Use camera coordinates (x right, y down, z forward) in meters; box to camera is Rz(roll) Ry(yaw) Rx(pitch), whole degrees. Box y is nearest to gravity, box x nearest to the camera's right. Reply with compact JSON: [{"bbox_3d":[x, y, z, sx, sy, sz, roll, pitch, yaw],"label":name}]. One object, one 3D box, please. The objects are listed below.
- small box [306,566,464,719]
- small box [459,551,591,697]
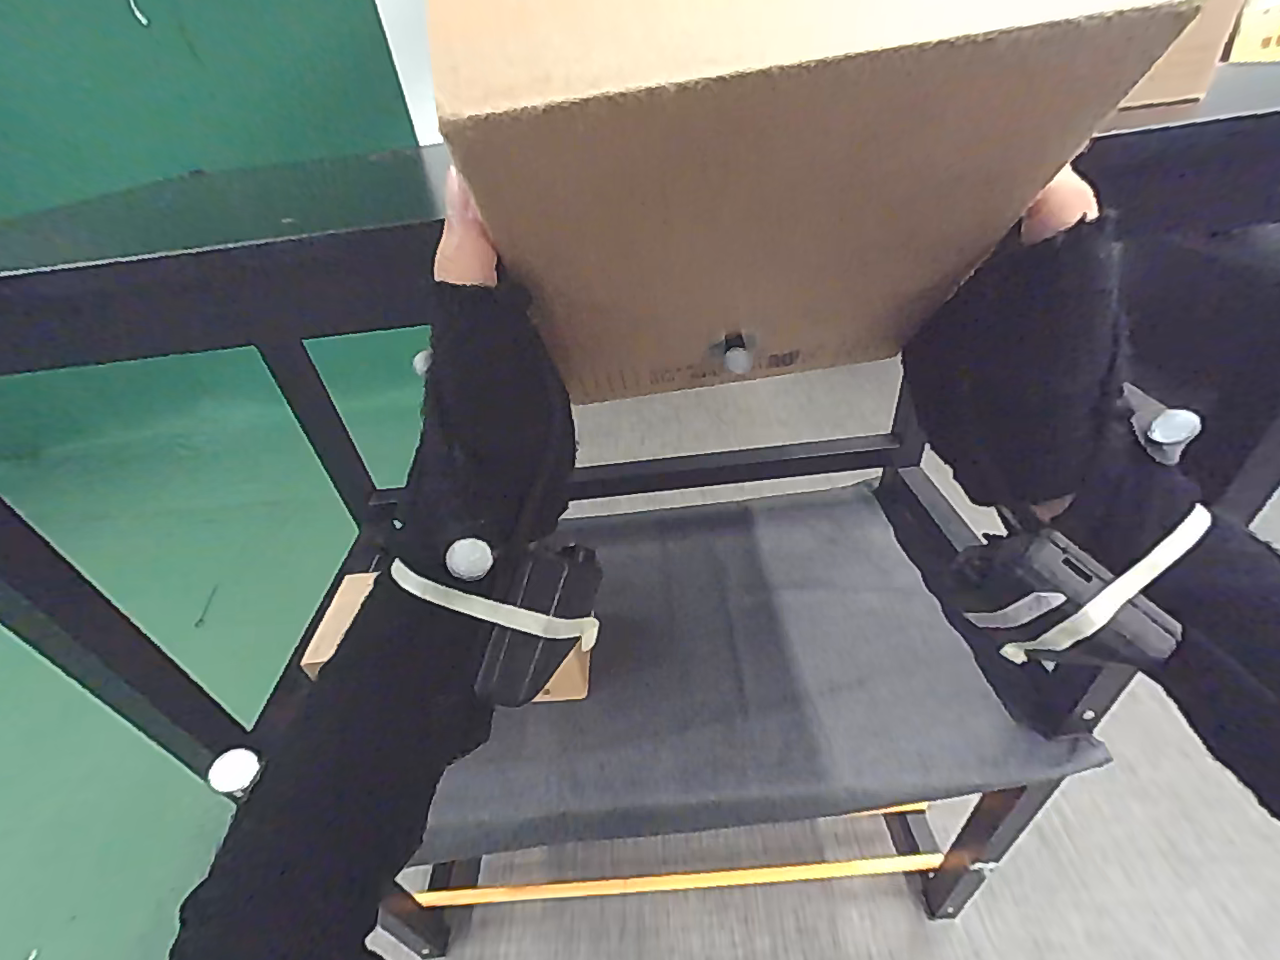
[{"bbox_3d":[-0.403,0.268,0.899,0.168,0.176,0.179,-6,37,2],"label":"small box"},{"bbox_3d":[-0.177,0.243,0.898,0.168,0.176,0.179,-5,36,3],"label":"small box"}]
